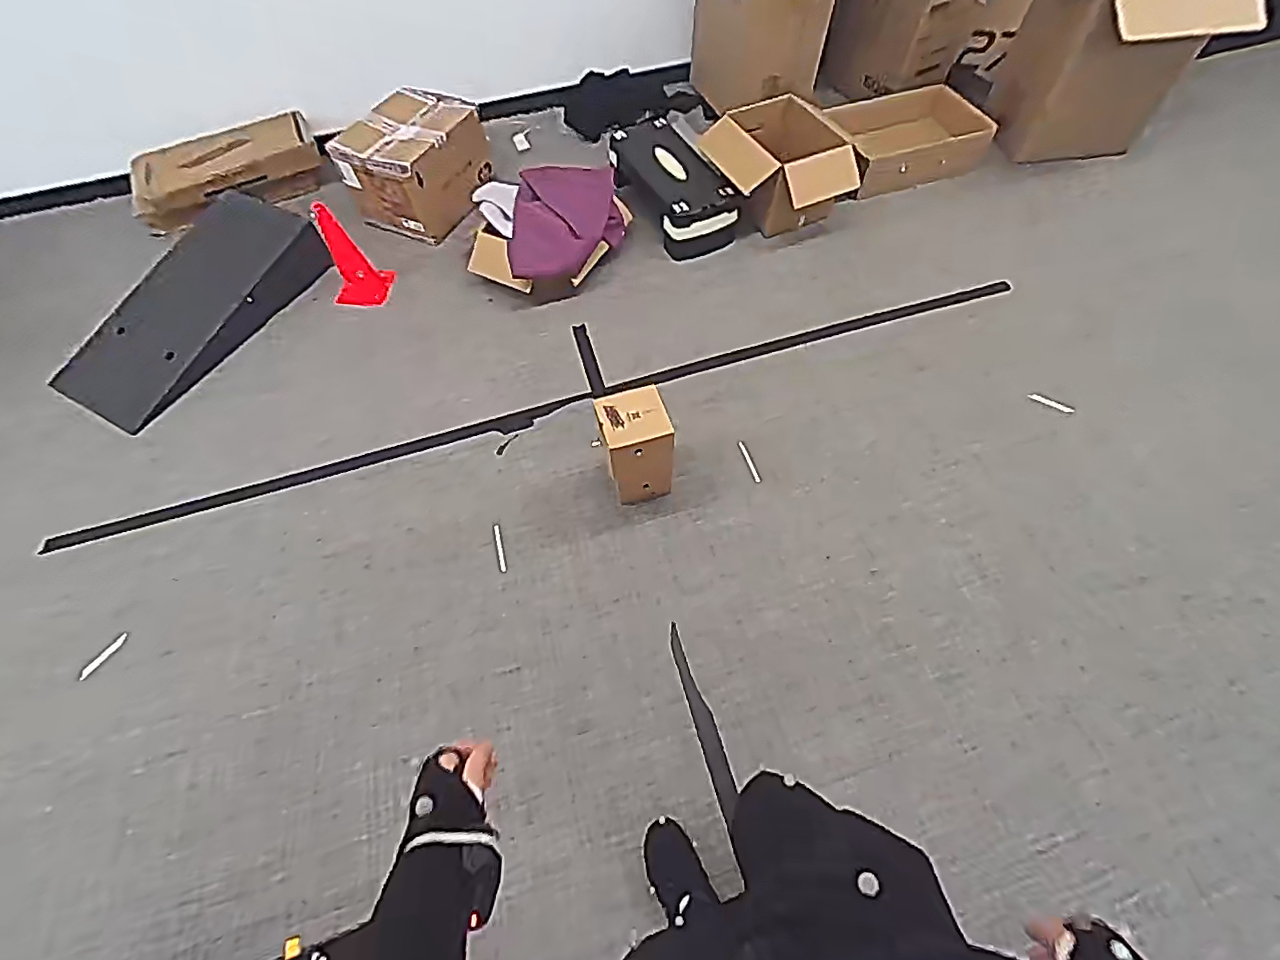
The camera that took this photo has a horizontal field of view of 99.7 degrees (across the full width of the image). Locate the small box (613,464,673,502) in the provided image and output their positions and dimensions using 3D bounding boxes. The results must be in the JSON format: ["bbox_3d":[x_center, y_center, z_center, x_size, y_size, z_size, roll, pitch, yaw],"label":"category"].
[{"bbox_3d":[-0.002,-0.050,1.609,0.168,0.176,0.179,-14,61,-6],"label":"small box"}]

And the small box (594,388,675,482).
[{"bbox_3d":[-0.013,-0.117,1.456,0.179,0.176,0.168,-16,61,-7],"label":"small box"}]
